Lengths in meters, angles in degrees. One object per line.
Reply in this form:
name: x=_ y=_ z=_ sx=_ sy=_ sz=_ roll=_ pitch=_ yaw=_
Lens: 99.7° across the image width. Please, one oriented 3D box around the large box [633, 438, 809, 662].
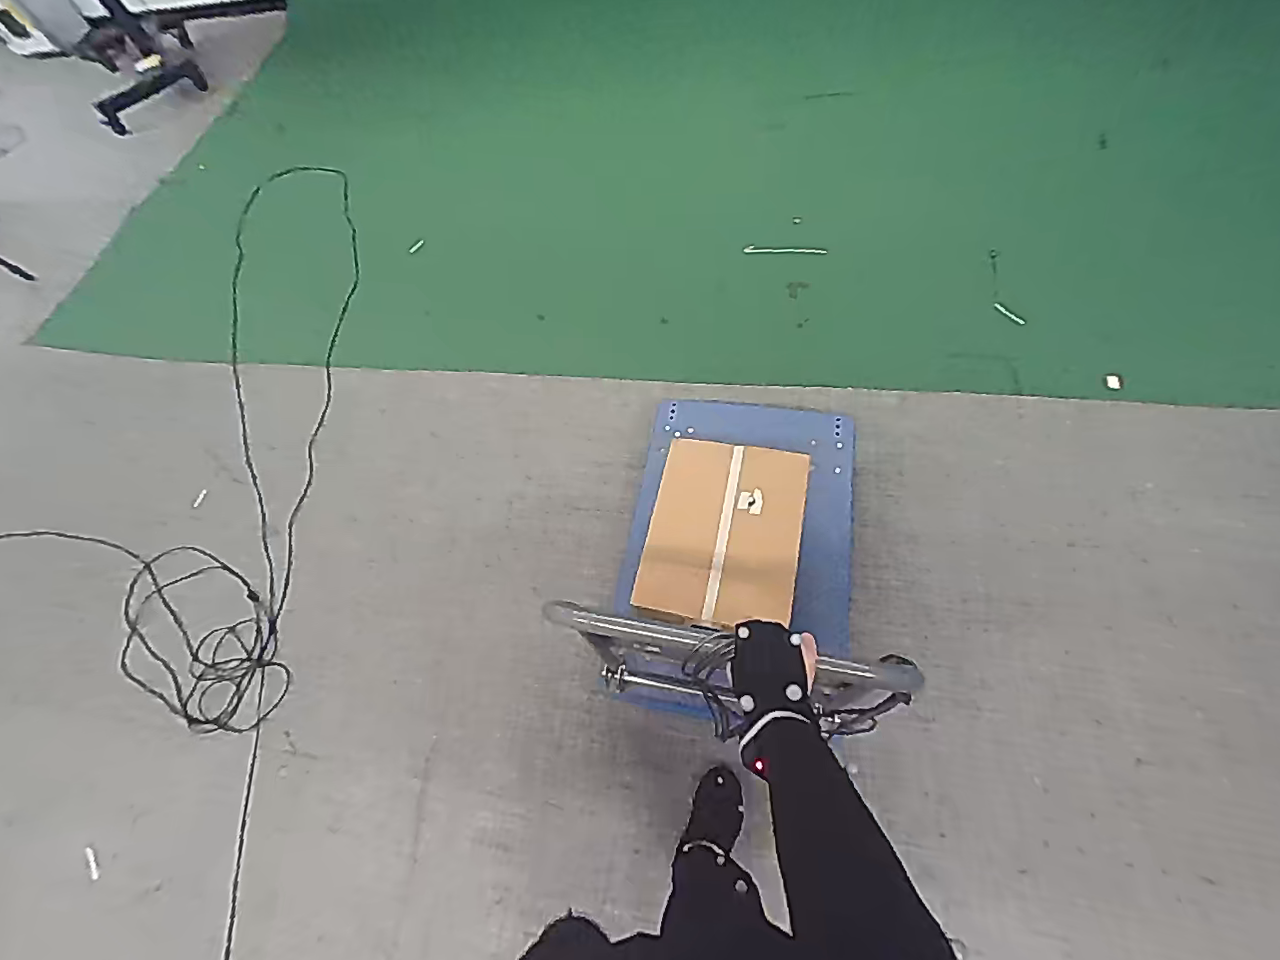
large box: x=0.197 y=0.167 z=1.254 sx=0.320 sy=0.320 sz=0.408 roll=10 pitch=64 yaw=13
